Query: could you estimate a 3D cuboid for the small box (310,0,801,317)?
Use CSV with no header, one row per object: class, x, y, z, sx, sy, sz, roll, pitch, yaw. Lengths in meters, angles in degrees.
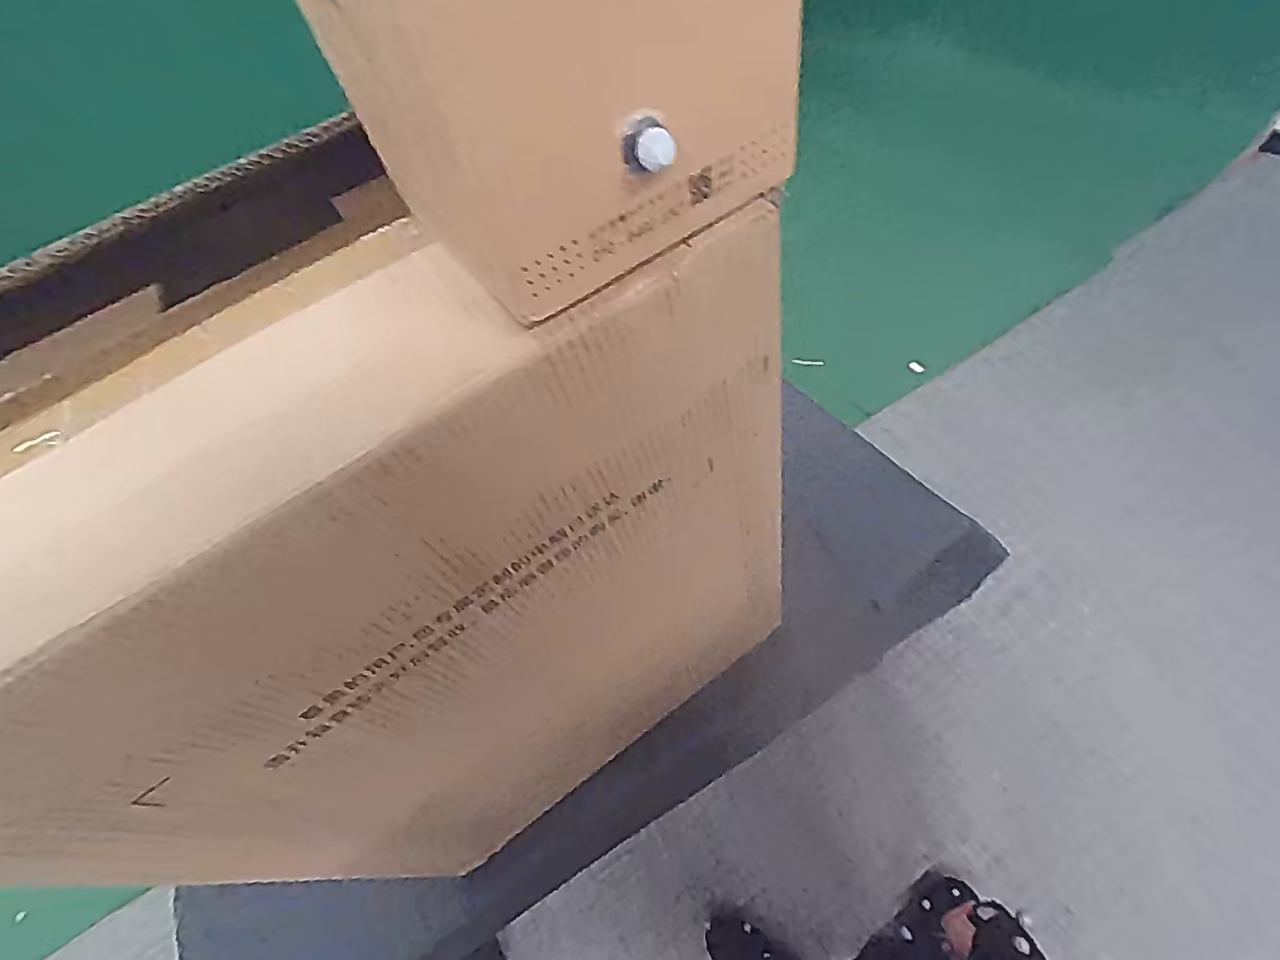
small box,-0.045,-0.208,0.251,0.168,0.176,0.179,-34,56,-12
